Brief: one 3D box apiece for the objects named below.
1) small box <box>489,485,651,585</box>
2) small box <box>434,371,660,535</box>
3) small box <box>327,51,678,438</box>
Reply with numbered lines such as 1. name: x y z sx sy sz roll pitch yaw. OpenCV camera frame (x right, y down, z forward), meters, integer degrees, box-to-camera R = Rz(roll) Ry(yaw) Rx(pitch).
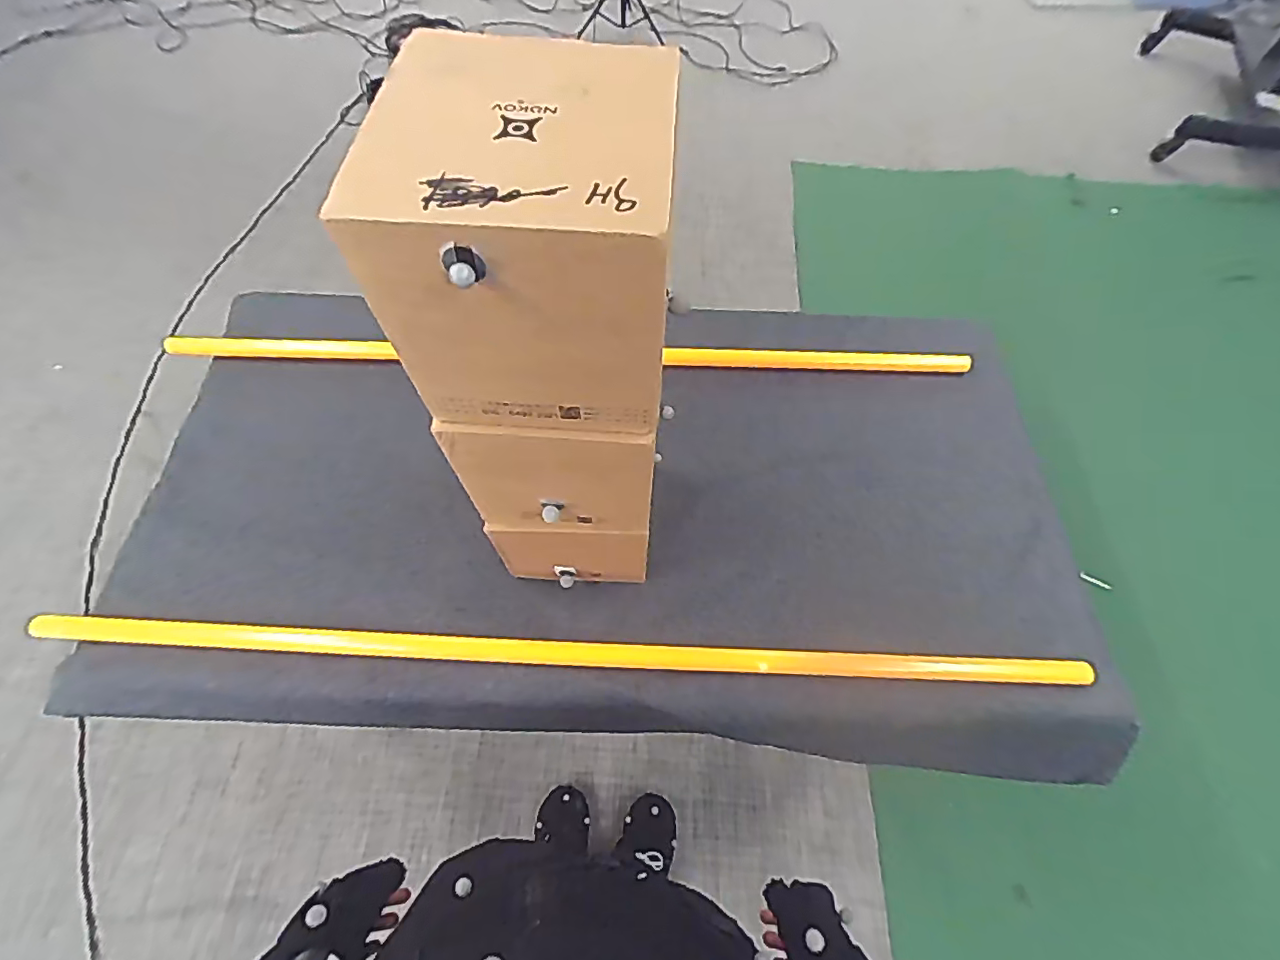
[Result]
1. small box: -0.071 0.016 0.650 0.168 0.176 0.179 0 63 0
2. small box: -0.067 -0.066 0.508 0.168 0.176 0.179 4 62 2
3. small box: -0.065 -0.150 0.367 0.168 0.176 0.179 3 61 2
